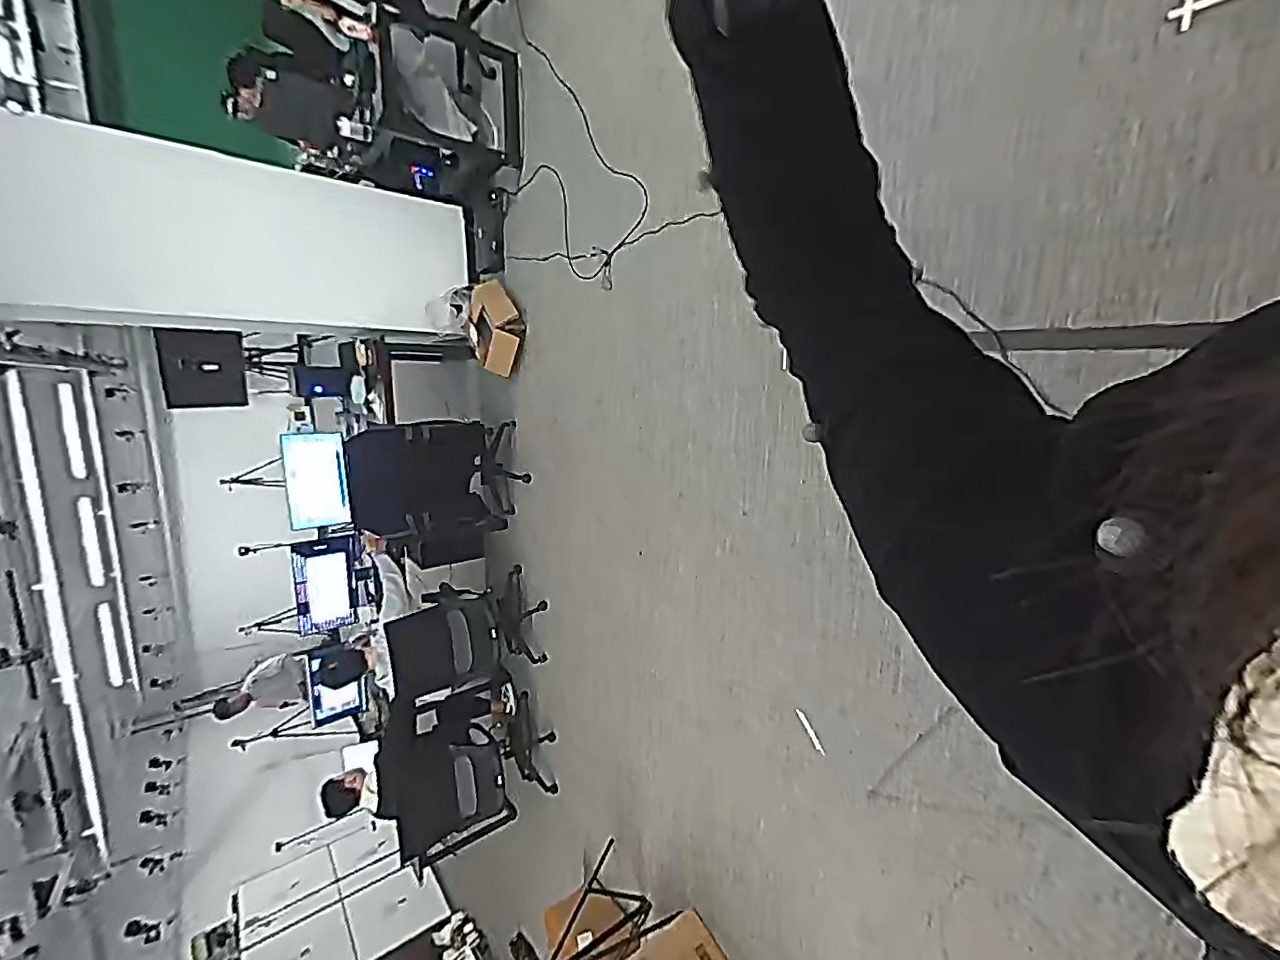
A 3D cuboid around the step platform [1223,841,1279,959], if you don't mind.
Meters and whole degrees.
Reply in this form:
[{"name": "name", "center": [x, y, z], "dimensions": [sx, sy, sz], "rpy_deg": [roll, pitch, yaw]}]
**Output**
[{"name": "step platform", "center": [1.322, 0.892, 0.755], "dimensions": [0.684, 0.204, 0.286], "rpy_deg": [23, 113, 48]}]
